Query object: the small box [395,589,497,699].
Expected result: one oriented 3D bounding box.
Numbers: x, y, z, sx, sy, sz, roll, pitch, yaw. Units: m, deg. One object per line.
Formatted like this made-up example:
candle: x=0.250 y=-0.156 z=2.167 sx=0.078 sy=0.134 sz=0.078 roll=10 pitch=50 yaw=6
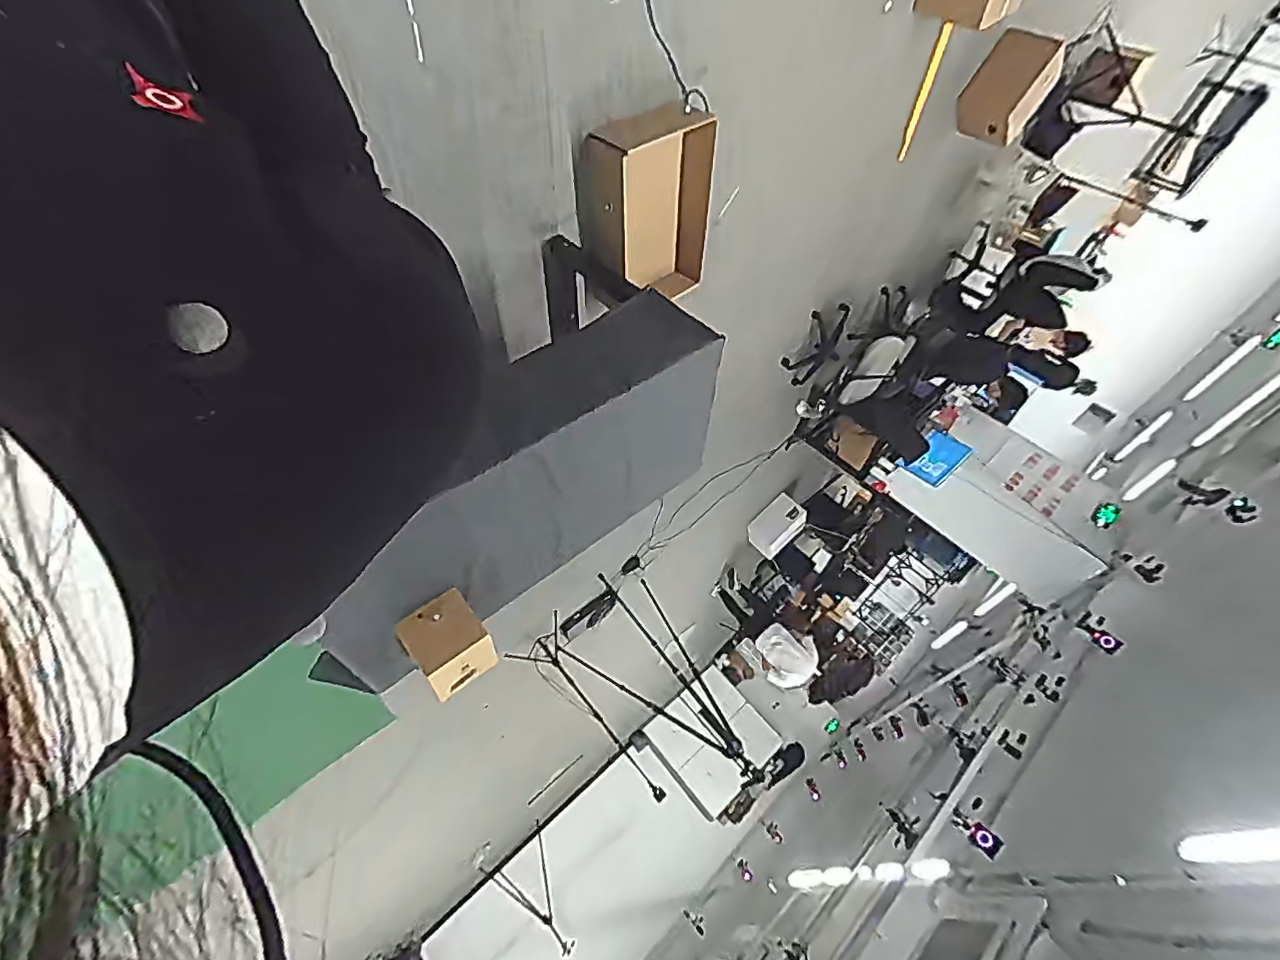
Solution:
small box: x=-0.482 y=0.405 z=1.351 sx=0.168 sy=0.176 sz=0.179 roll=-33 pitch=150 yaw=-29
